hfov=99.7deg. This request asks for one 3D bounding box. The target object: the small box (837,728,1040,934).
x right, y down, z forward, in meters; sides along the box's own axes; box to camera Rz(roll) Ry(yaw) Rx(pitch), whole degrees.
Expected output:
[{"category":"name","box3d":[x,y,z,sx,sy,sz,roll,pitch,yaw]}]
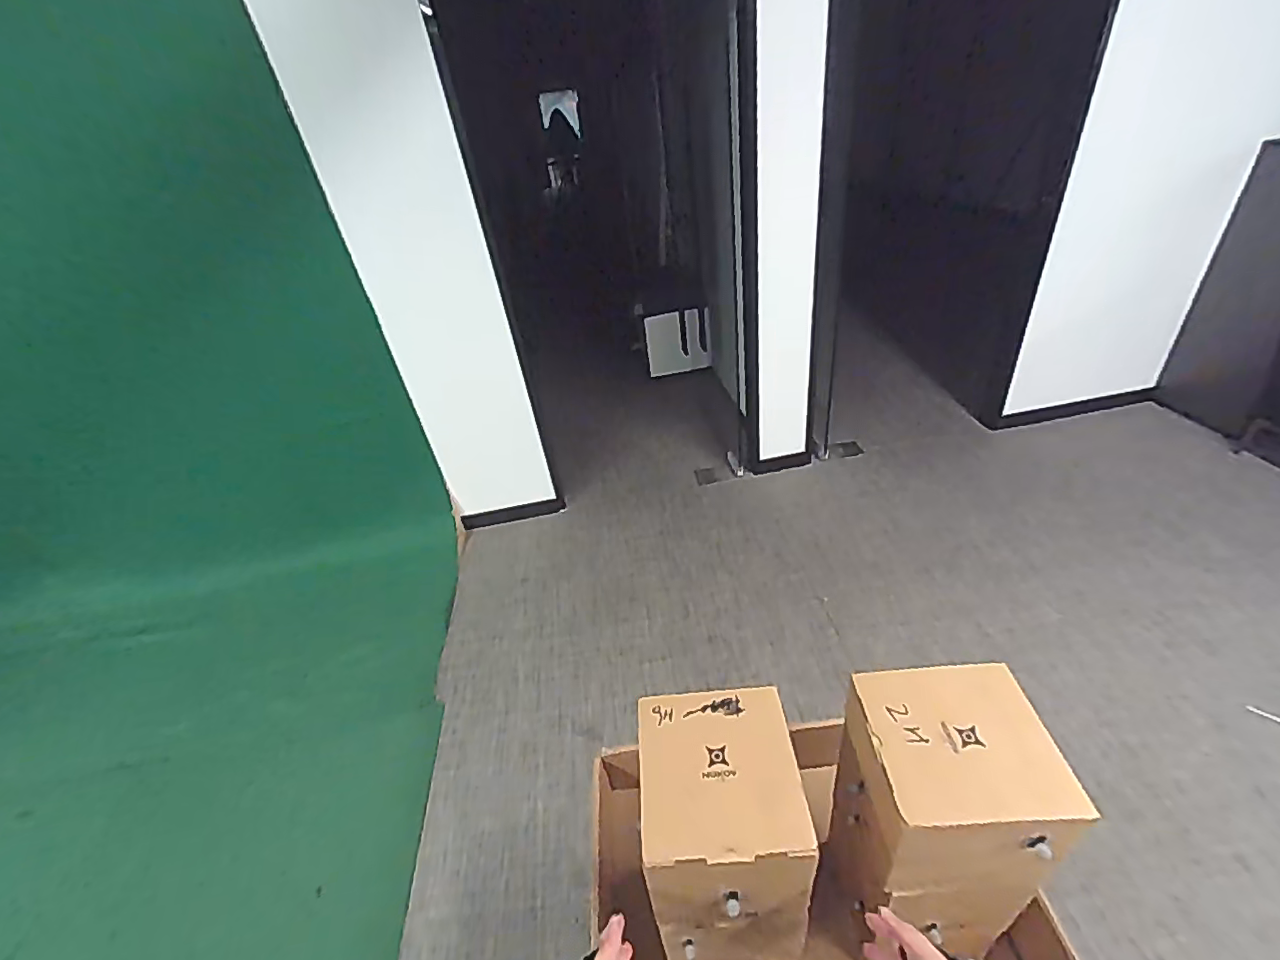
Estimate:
[{"category":"small box","box3d":[0.366,0.456,0.707,0.168,0.176,0.179,-8,36,5]}]
